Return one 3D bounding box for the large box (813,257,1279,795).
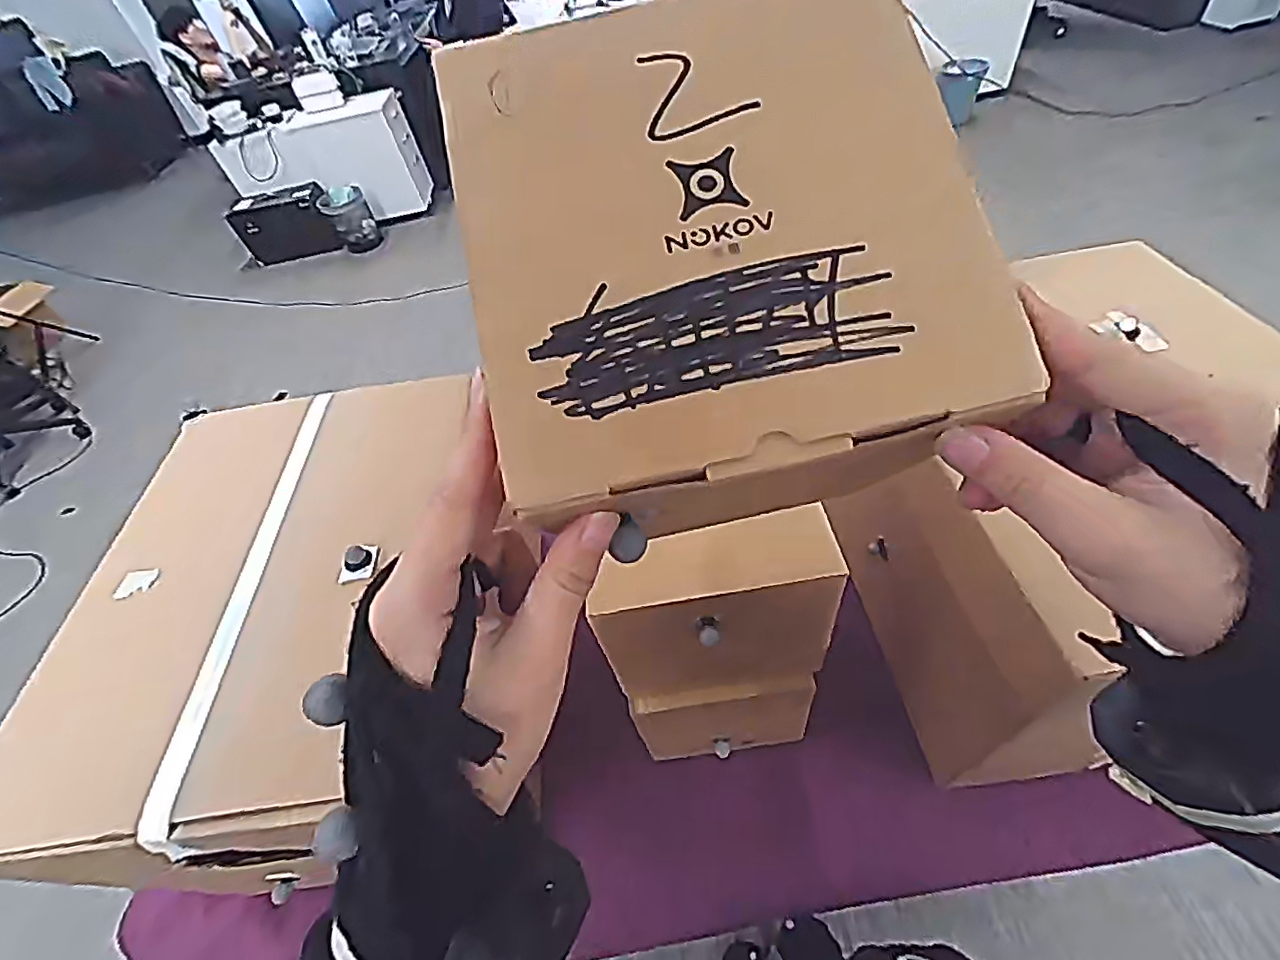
[{"bbox_3d":[0.397,0.040,0.546,0.320,0.320,0.408,-10,48,2],"label":"large box"}]
